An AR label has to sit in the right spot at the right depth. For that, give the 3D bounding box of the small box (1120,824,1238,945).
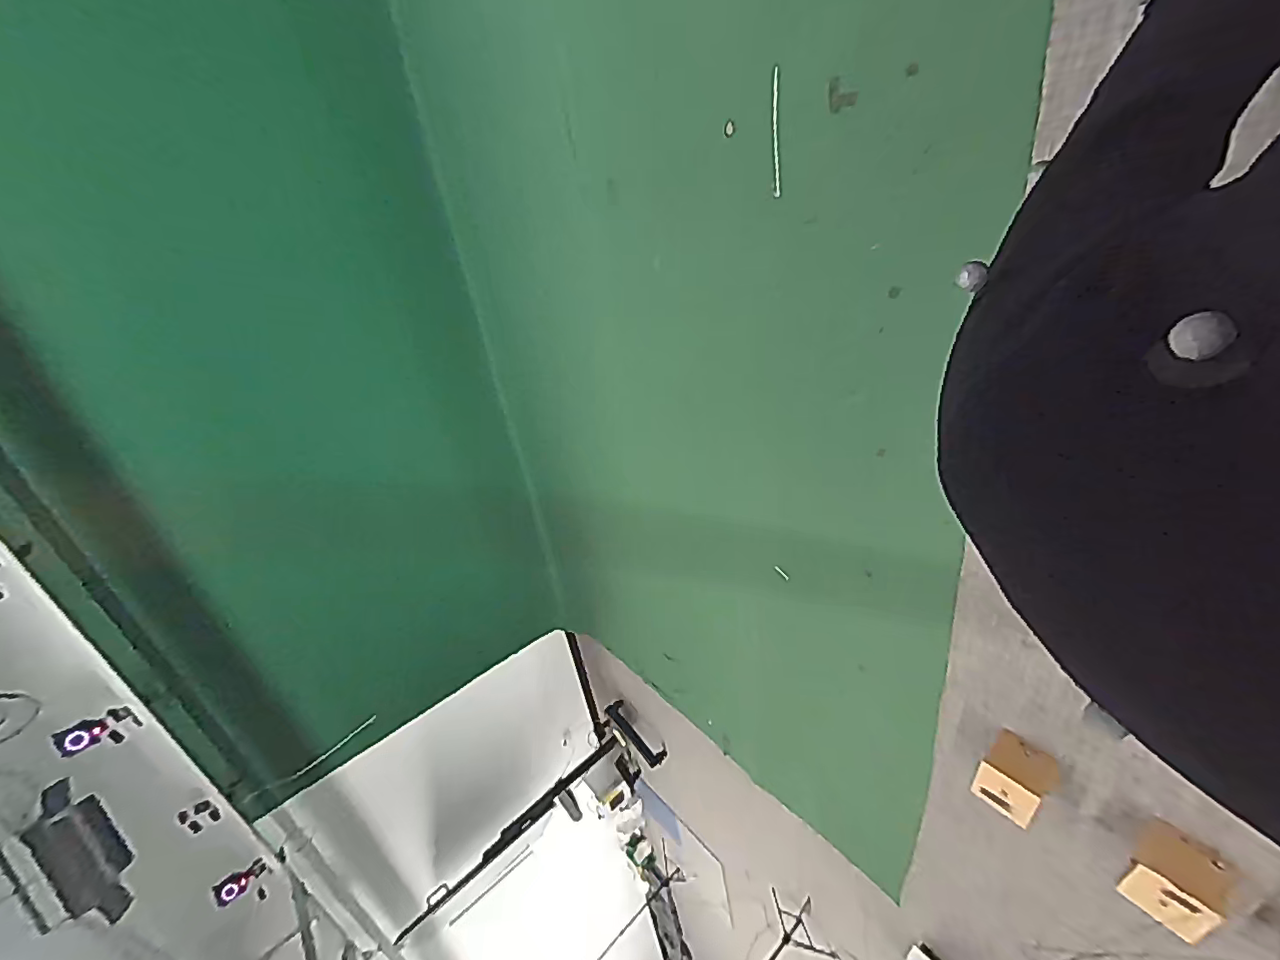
[{"bbox_3d":[1.455,1.081,1.459,0.168,0.176,0.179,31,139,42],"label":"small box"}]
